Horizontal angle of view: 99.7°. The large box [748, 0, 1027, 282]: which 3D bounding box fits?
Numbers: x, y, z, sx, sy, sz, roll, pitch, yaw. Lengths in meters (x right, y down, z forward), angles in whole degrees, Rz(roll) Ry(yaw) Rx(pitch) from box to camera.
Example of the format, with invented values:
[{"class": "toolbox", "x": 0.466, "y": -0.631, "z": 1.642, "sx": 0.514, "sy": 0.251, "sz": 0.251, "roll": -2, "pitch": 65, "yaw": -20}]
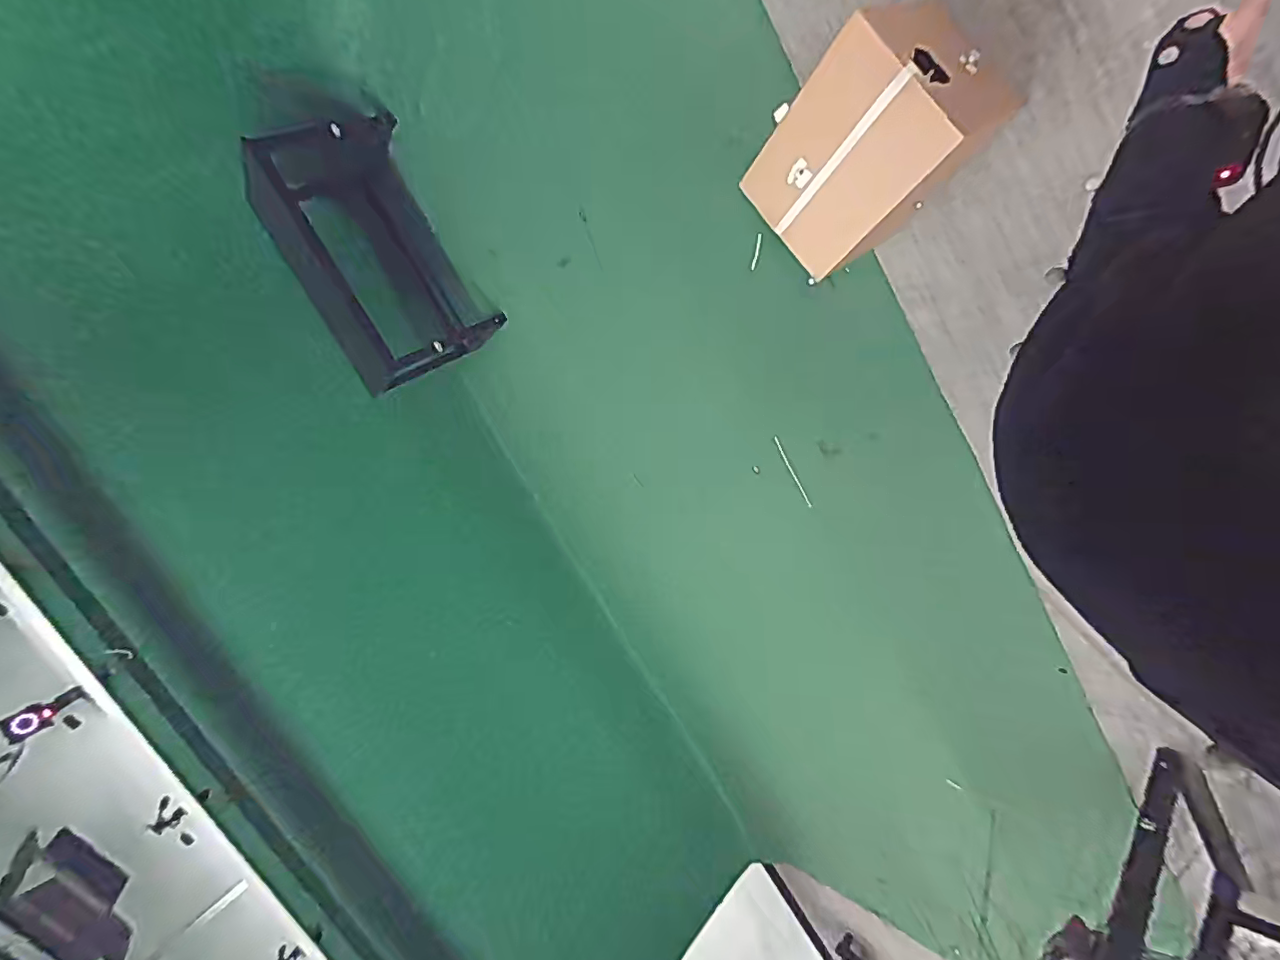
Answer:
[{"class": "large box", "x": 0.528, "y": -0.739, "z": 1.207, "sx": 0.320, "sy": 0.320, "sz": 0.408, "roll": 53, "pitch": 151, "yaw": 3}]
